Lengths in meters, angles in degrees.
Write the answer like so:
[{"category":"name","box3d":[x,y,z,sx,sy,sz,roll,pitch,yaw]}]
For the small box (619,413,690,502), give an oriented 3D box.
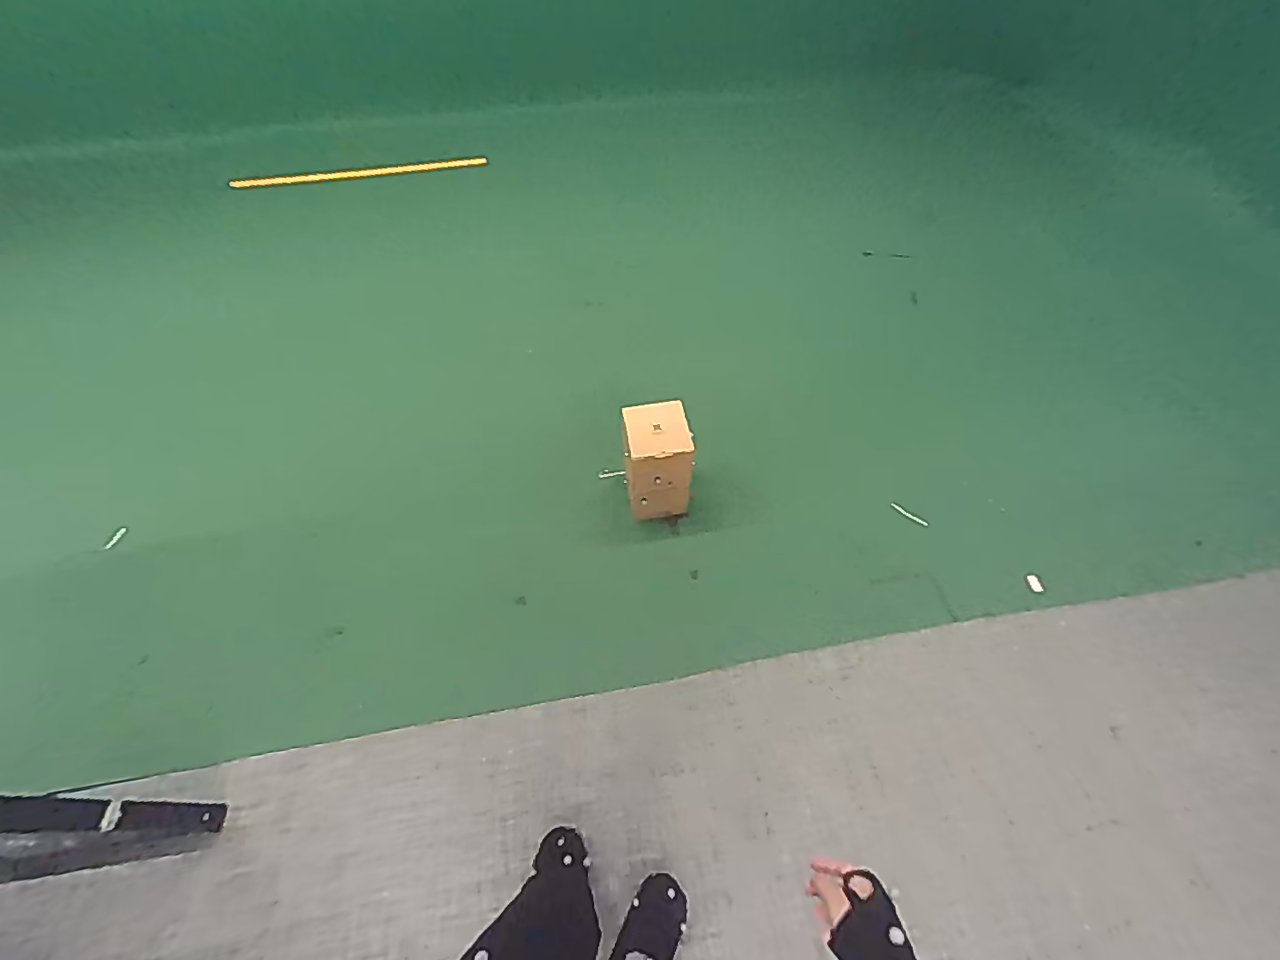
[{"category":"small box","box3d":[0.033,-0.061,1.496,0.168,0.176,0.179,-7,56,-7]}]
